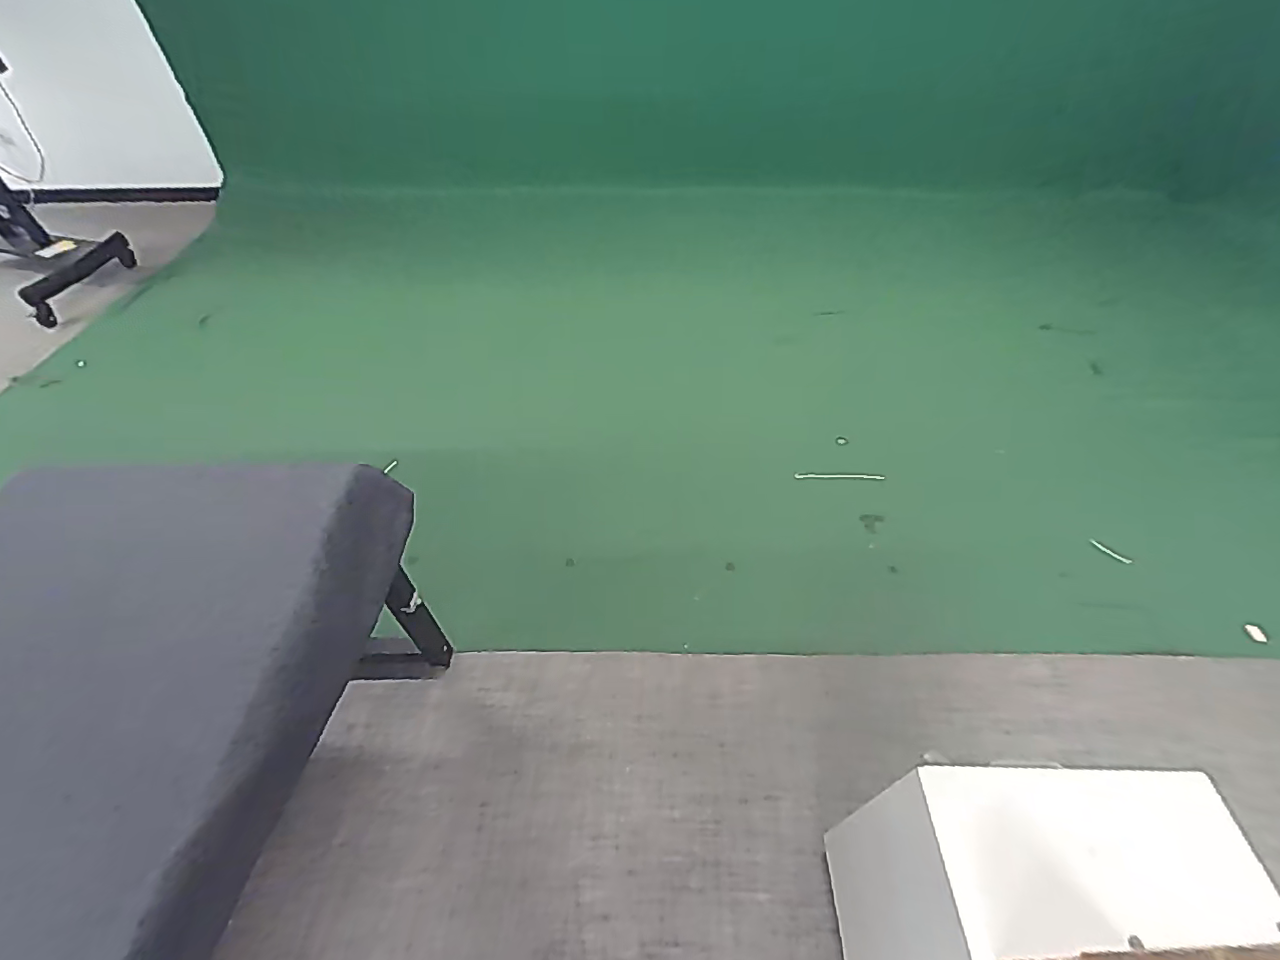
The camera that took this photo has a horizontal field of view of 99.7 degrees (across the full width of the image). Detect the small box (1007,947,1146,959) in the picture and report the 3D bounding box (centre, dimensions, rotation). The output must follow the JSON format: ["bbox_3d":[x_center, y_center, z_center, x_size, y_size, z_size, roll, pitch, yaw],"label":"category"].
[{"bbox_3d":[0.488,0.551,0.508,0.179,0.176,0.168,-4,48,-1],"label":"small box"}]

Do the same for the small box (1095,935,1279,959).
[{"bbox_3d":[0.490,0.440,0.387,0.179,0.176,0.168,-4,48,-4],"label":"small box"}]
